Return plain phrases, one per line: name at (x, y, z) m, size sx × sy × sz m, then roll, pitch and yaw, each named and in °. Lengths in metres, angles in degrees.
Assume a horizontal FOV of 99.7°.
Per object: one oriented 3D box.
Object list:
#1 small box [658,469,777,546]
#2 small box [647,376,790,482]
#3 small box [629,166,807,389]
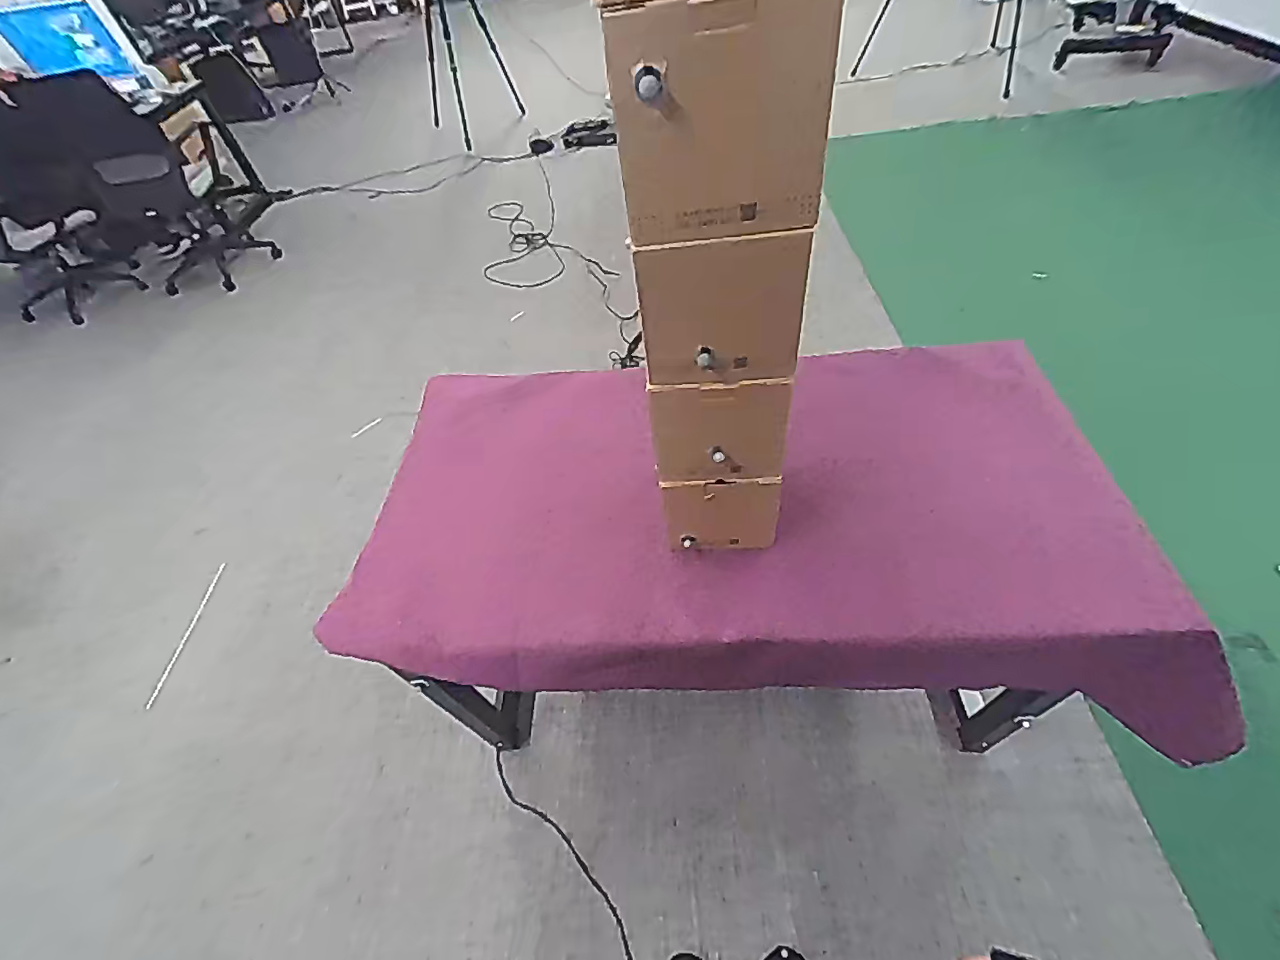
small box at (0.121, -0.007, 0.849) m, size 0.168 × 0.176 × 0.179 m, roll -2°, pitch 50°, yaw 7°
small box at (0.101, -0.117, 0.730) m, size 0.168 × 0.176 × 0.179 m, roll -3°, pitch 51°, yaw 7°
small box at (0.083, -0.224, 0.608) m, size 0.168 × 0.176 × 0.179 m, roll -3°, pitch 50°, yaw 7°
